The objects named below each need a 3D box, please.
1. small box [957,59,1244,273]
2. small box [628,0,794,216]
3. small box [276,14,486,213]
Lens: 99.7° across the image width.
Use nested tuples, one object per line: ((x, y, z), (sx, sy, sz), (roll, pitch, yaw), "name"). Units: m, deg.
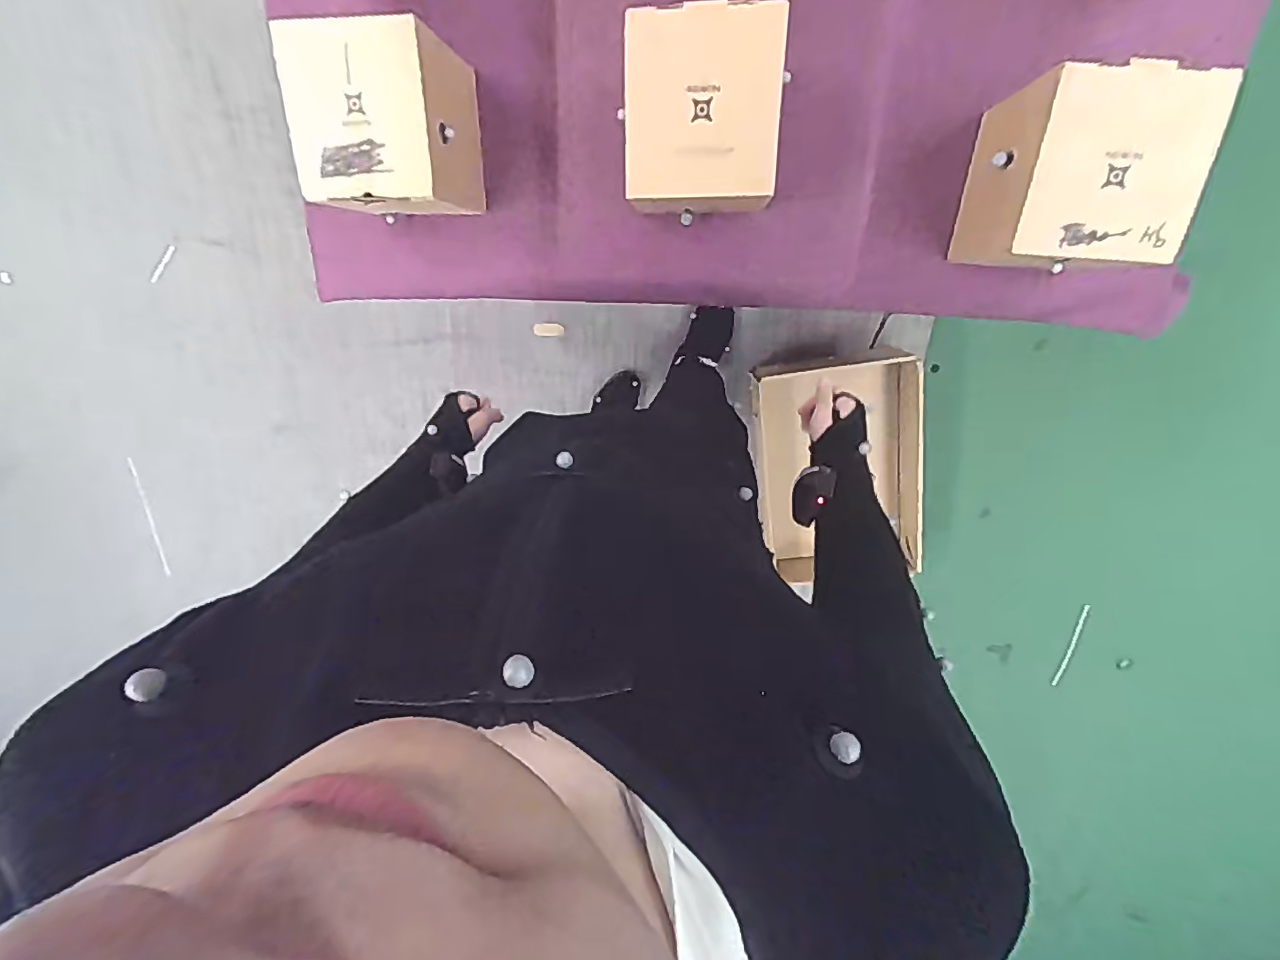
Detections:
((0.497, -0.343, 0.621), (0.168, 0.176, 0.179), (7, 109, 6), "small box")
((0.078, -0.422, 0.642), (0.168, 0.176, 0.179), (3, 110, 6), "small box")
((-0.304, -0.438, 0.678), (0.168, 0.176, 0.179), (2, 109, 5), "small box")
